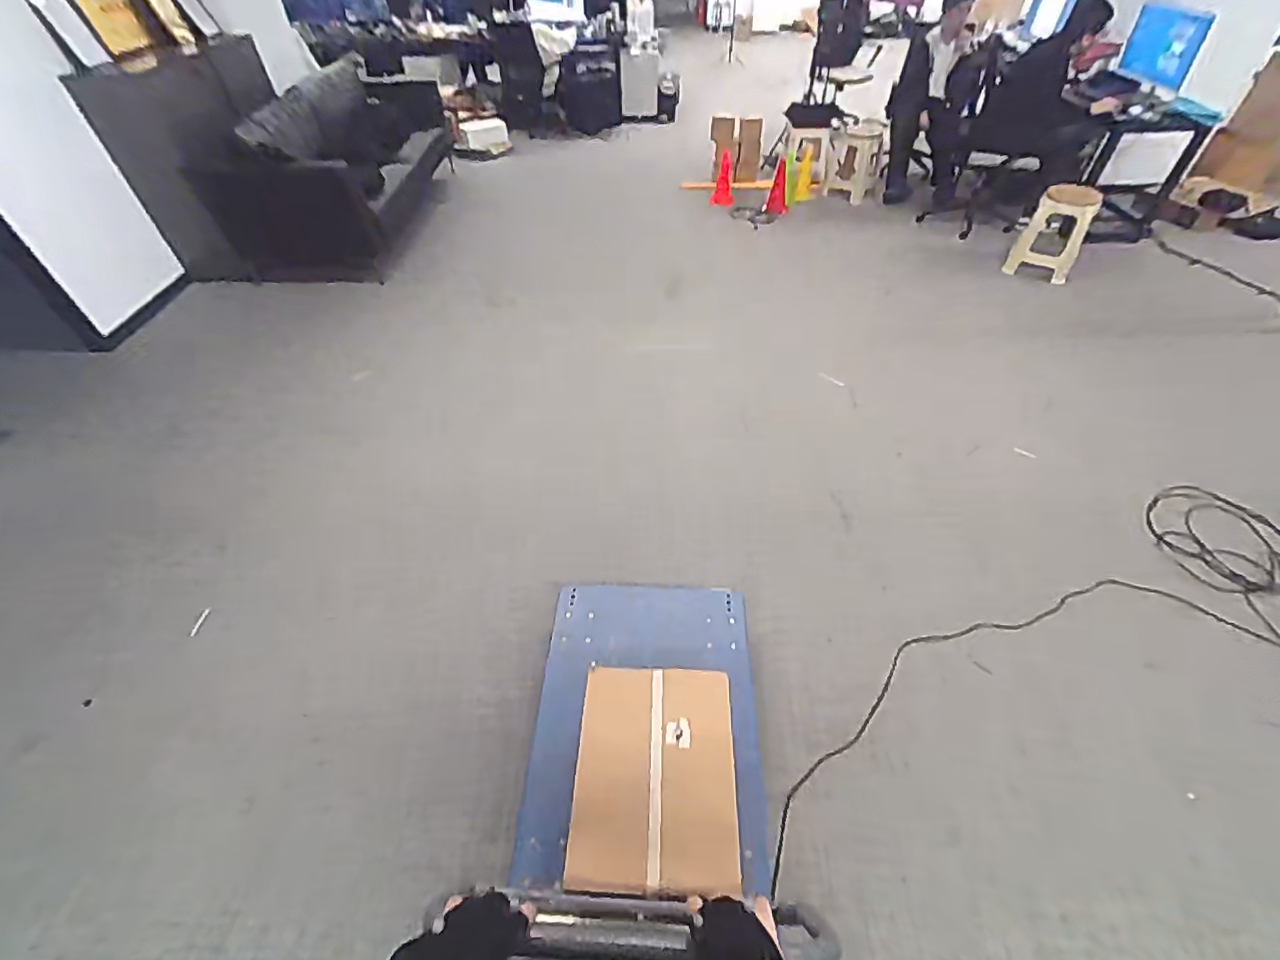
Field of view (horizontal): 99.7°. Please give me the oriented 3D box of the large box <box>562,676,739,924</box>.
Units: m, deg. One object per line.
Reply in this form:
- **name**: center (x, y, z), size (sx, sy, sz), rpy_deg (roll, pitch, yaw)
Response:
- **large box**: center (0.025, 0.687, 1.171), size (0.320, 0.320, 0.408), rpy_deg (2, 45, 1)
